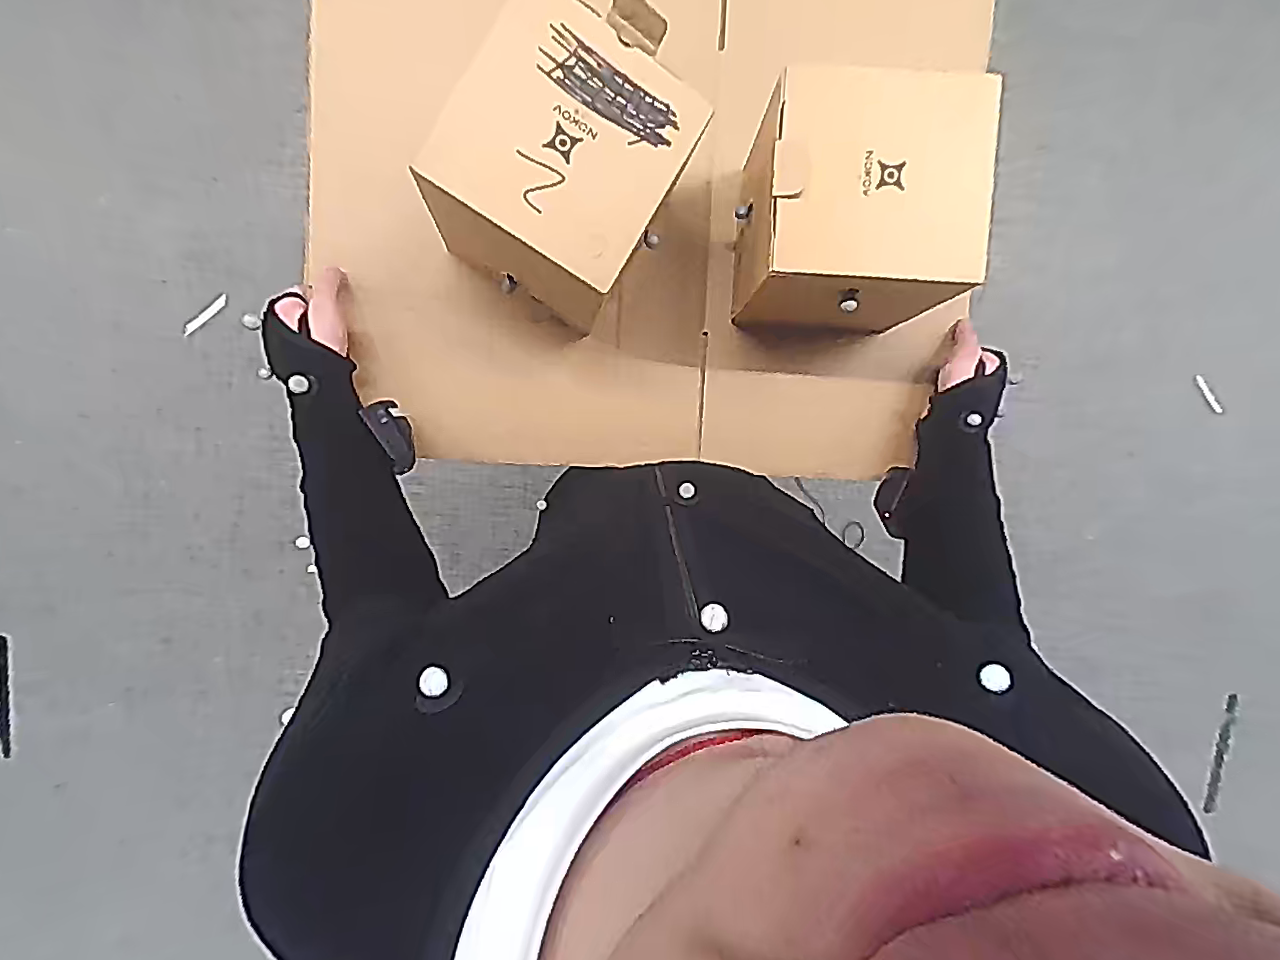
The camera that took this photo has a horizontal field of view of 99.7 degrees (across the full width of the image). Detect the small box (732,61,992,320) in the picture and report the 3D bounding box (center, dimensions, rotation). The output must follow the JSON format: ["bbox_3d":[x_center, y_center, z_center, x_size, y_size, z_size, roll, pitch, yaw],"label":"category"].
[{"bbox_3d":[0.195,-0.257,0.523,0.179,0.176,0.168,3,94,0],"label":"small box"}]
